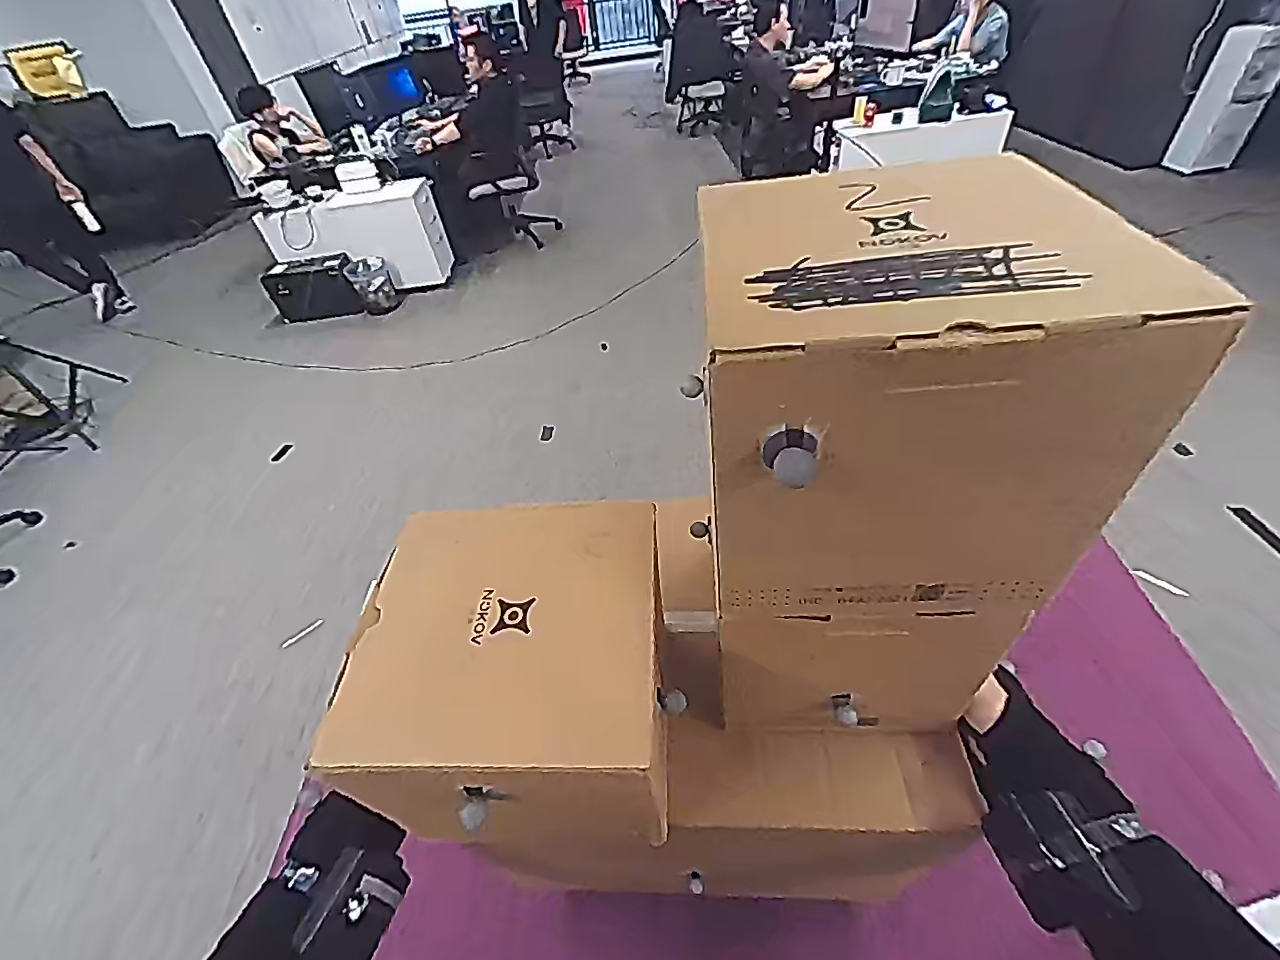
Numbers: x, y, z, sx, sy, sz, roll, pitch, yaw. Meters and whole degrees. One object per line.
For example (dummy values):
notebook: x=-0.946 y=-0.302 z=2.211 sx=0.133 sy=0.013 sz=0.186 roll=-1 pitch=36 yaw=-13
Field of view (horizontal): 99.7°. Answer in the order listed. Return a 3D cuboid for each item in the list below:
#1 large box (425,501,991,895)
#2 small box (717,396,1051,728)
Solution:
large box: x=0.060 y=0.237 z=0.584 sx=0.408 sy=0.320 sz=0.320 roll=-4 pitch=44 yaw=6
small box: x=0.143 y=0.061 z=0.398 sx=0.168 sy=0.176 sz=0.179 roll=-4 pitch=45 yaw=7
